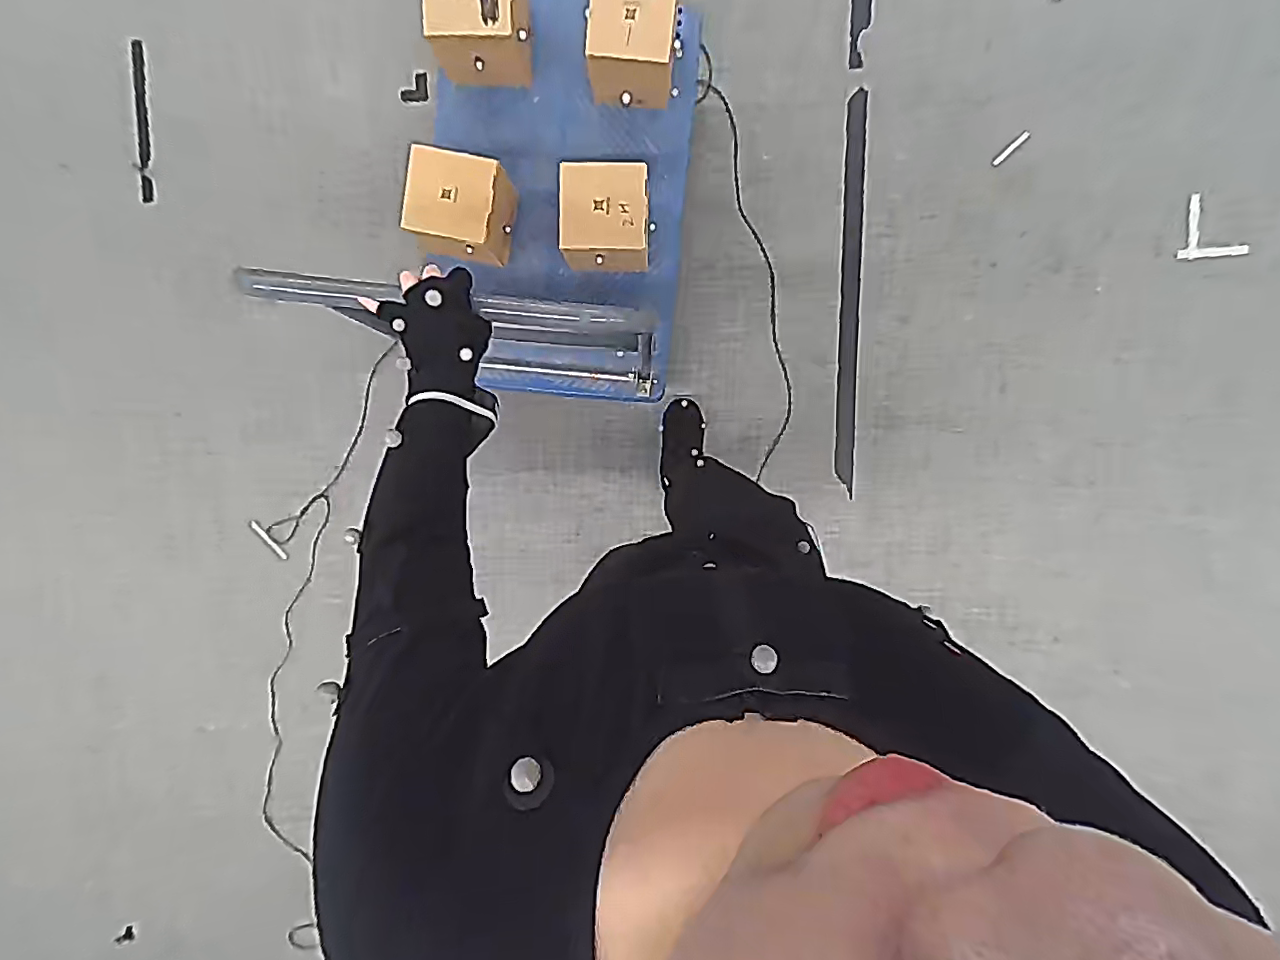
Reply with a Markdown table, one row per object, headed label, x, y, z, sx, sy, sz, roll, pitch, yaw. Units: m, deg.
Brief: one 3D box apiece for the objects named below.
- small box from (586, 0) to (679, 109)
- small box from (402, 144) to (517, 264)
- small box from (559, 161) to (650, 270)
| label | x | y | z | sx | sy | sz | roll | pitch | yaw |
| --- | --- | --- | --- | --- | --- | --- | --- | --- | --- |
| small box | -0.012 | -0.908 | 1.108 | 0.168 | 0.176 | 0.179 | 7 | 98 | 1 |
| small box | -0.377 | -0.578 | 1.155 | 0.179 | 0.176 | 0.168 | 10 | 96 | -2 |
| small box | -0.069 | -0.553 | 1.149 | 0.179 | 0.176 | 0.168 | 1 | 97 | 2 |
